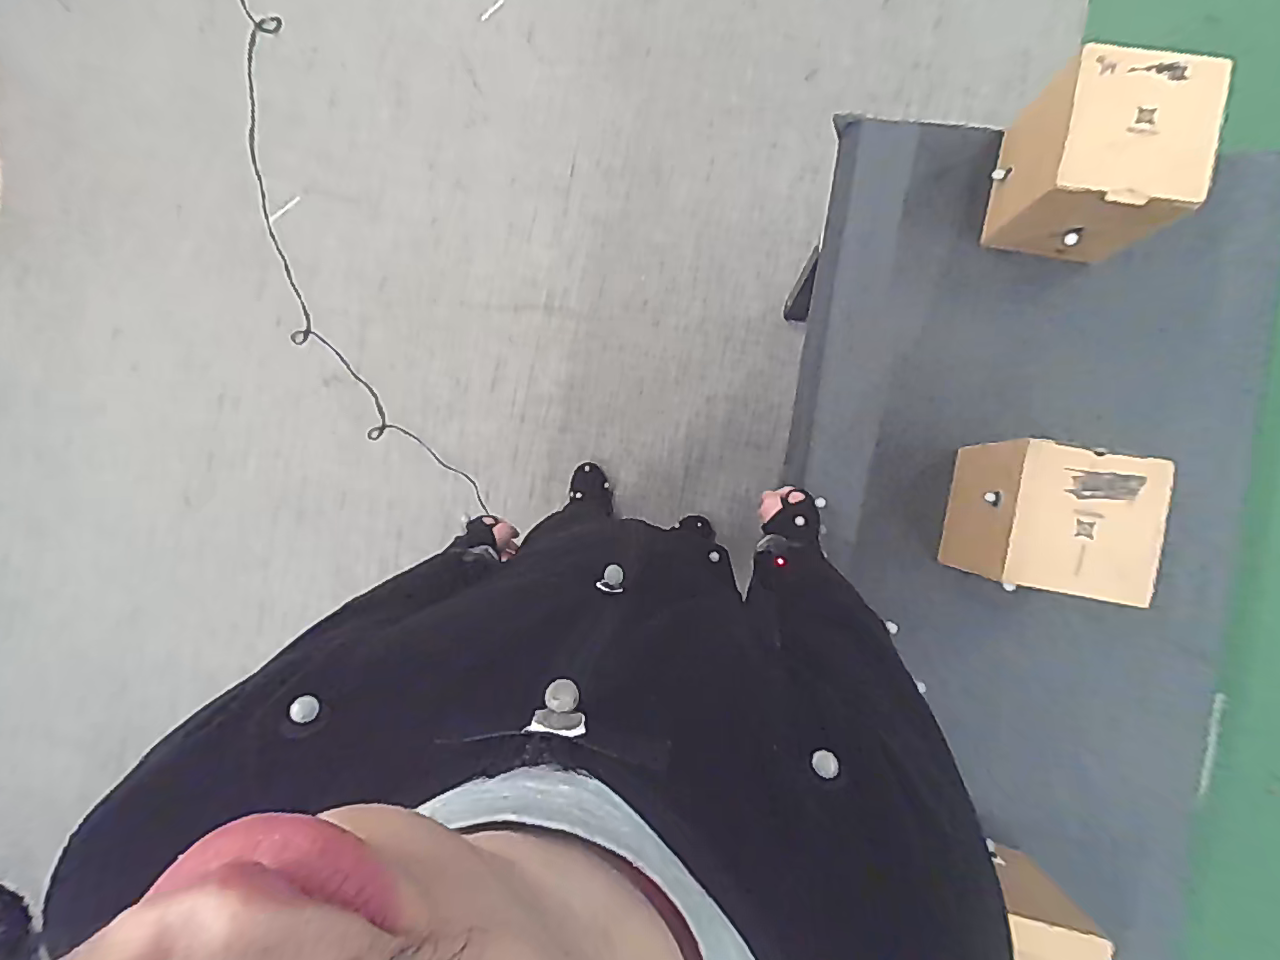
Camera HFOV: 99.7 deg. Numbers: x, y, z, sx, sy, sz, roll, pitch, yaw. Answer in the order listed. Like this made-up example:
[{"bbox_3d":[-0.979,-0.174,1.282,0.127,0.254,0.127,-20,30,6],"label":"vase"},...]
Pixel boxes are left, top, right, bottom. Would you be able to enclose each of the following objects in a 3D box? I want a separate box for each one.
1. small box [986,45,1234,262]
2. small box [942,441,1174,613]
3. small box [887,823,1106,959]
[{"bbox_3d":[0.590,-0.409,0.707,0.168,0.176,0.179,12,91,5],"label":"small box"},{"bbox_3d":[0.525,0.054,0.707,0.168,0.176,0.179,11,91,6],"label":"small box"},{"bbox_3d":[0.444,0.599,0.706,0.168,0.176,0.179,12,89,4],"label":"small box"}]
